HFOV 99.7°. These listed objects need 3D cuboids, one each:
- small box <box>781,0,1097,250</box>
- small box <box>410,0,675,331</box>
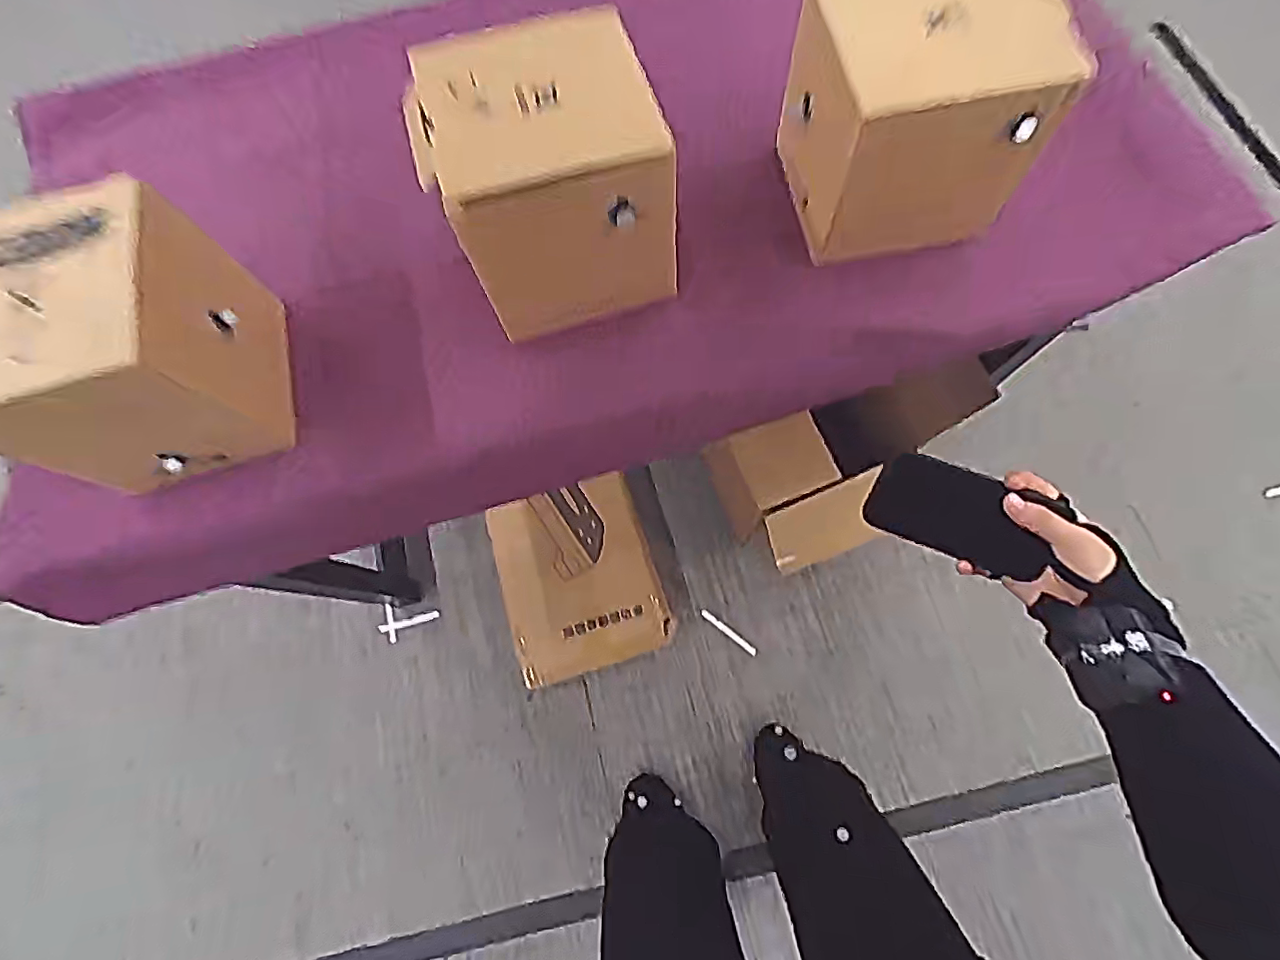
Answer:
[{"bbox_3d":[0.236,-0.335,0.487,0.179,0.176,0.168,-10,73,0],"label":"small box"},{"bbox_3d":[-0.075,-0.264,0.484,0.179,0.176,0.168,-17,70,-2],"label":"small box"}]
